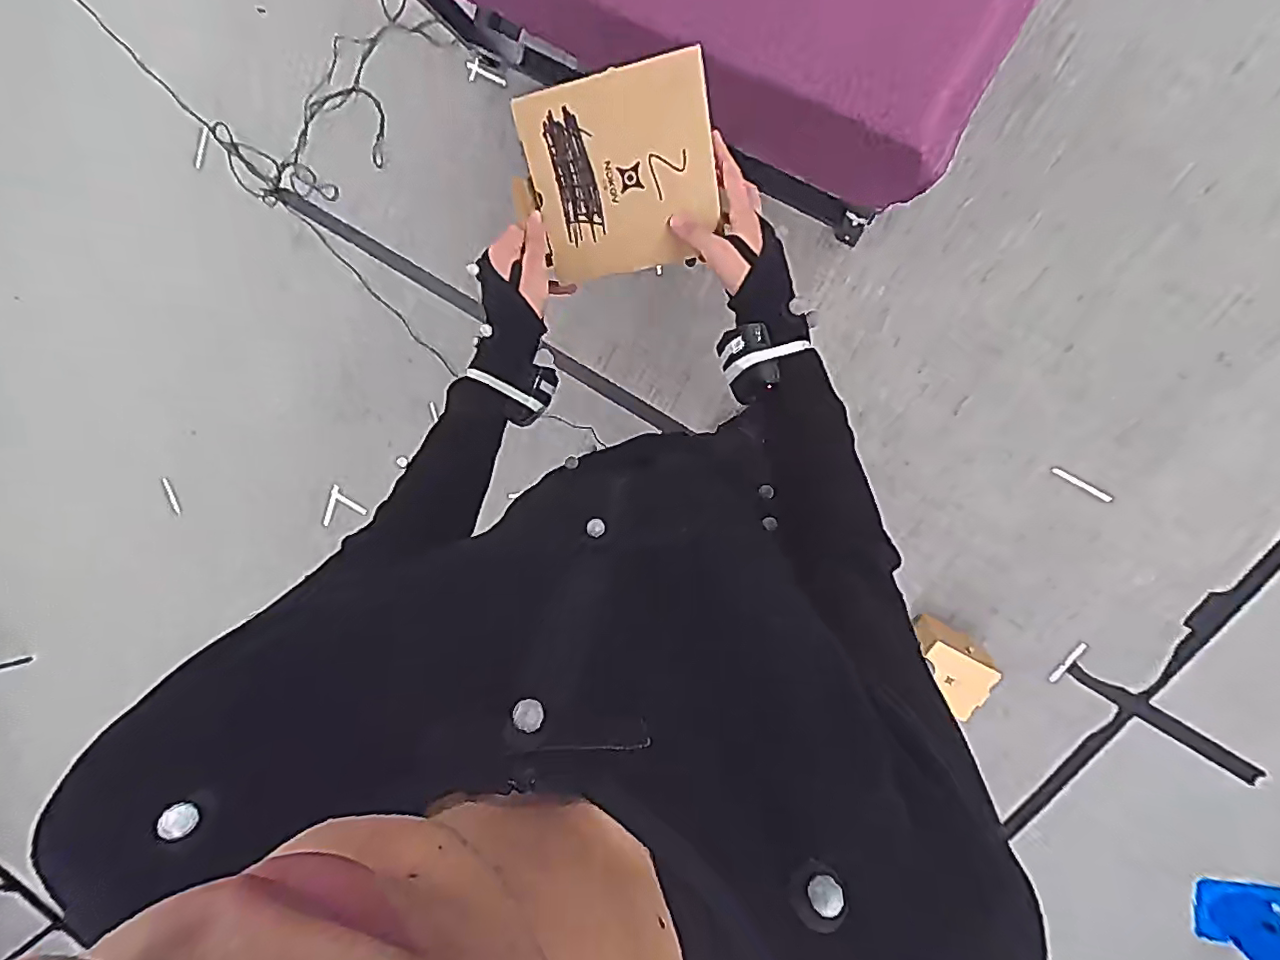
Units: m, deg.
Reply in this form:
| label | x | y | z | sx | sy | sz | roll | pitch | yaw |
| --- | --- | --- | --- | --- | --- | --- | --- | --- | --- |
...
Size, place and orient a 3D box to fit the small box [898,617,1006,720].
| label | x | y | z | sx | sy | sz | roll | pitch | yaw |
| --- | --- | --- | --- | --- | --- | --- | --- | --- | --- |
| small box | 0.828 | 0.497 | 1.462 | 0.179 | 0.176 | 0.168 | 27 | 108 | 8 |
